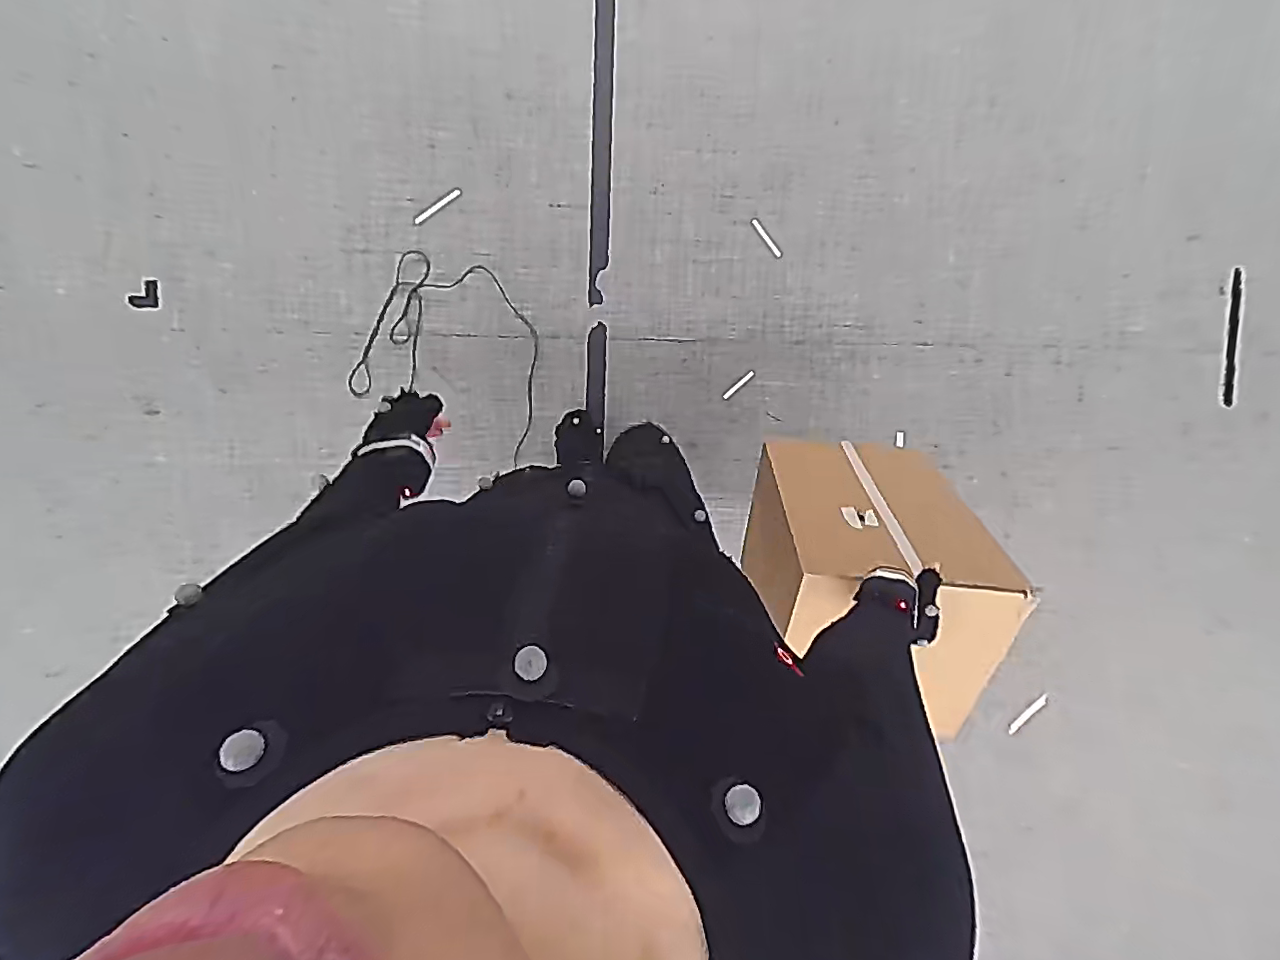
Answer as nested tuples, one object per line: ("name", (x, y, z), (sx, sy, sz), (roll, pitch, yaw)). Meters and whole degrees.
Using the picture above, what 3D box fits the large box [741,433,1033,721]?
("large box", (0.379, 0.155, 0.975), (0.320, 0.408, 0.320), (4, 124, 1))
